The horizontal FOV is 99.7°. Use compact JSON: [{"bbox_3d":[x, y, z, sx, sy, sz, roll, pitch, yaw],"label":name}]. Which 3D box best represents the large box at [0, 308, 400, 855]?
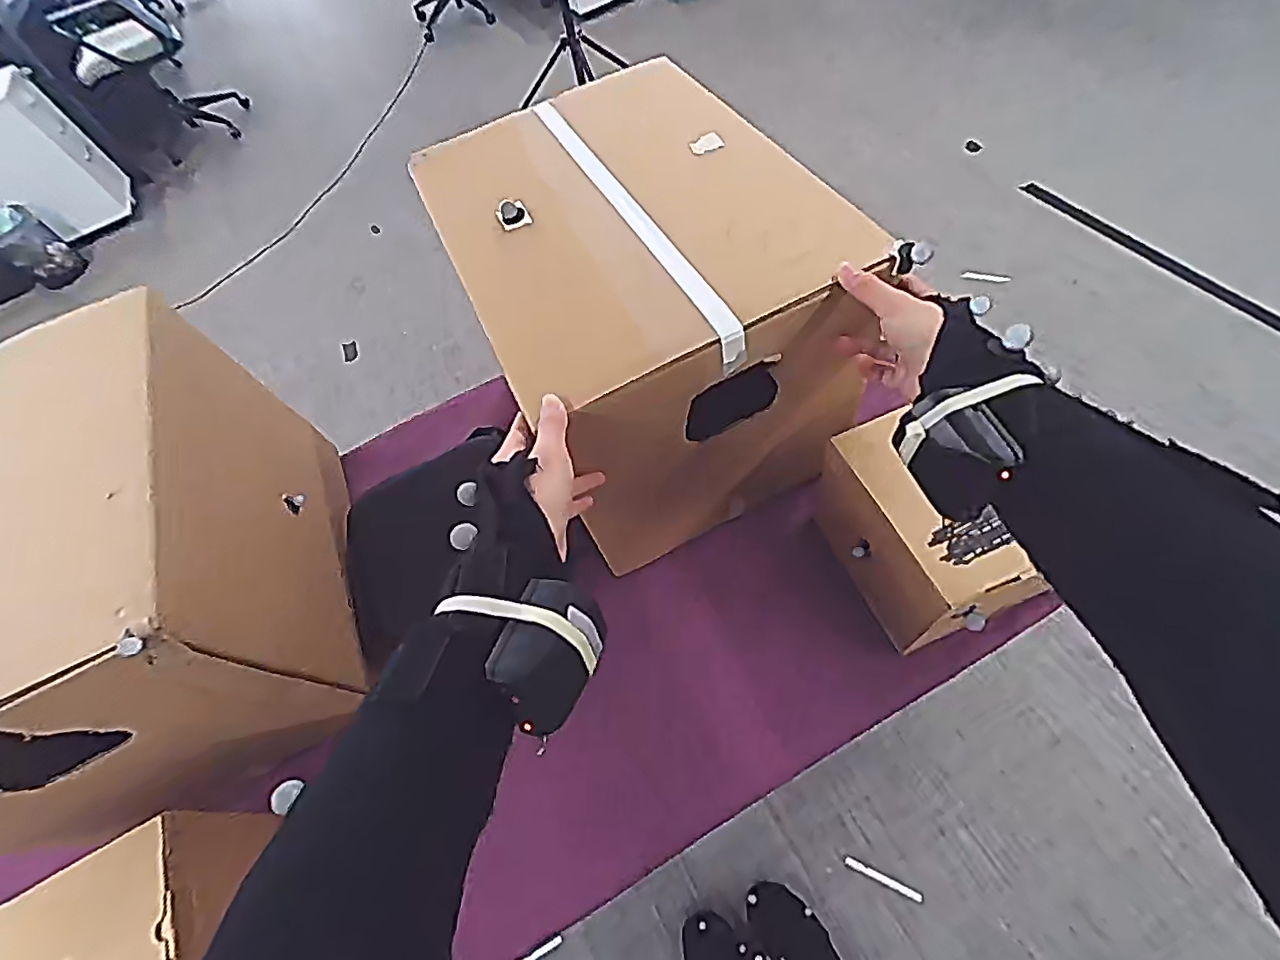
[{"bbox_3d":[-0.520,0.106,0.577,0.320,0.320,0.408,-29,62,-6],"label":"large box"}]
